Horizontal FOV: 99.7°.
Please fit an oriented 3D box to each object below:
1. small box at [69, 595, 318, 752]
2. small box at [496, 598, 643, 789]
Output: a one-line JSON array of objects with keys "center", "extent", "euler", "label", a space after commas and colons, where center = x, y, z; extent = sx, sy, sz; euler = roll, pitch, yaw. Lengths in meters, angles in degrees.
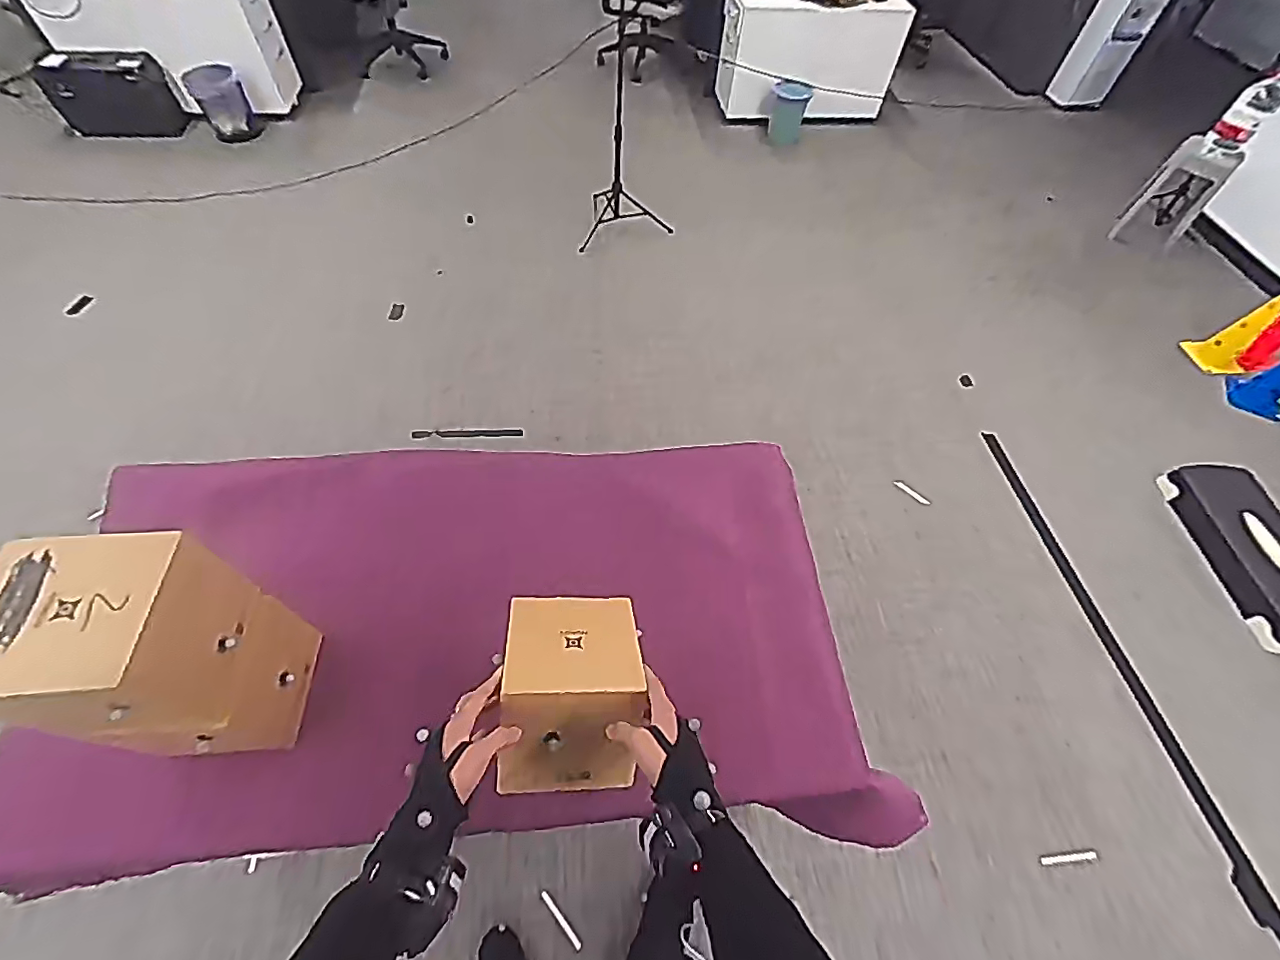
[{"center": [-0.573, 0.264, 0.730], "extent": [0.179, 0.176, 0.168], "euler": [-1, 56, -5], "label": "small box"}, {"center": [-0.094, 0.273, 0.700], "extent": [0.168, 0.176, 0.179], "euler": [3, 22, -10], "label": "small box"}]
